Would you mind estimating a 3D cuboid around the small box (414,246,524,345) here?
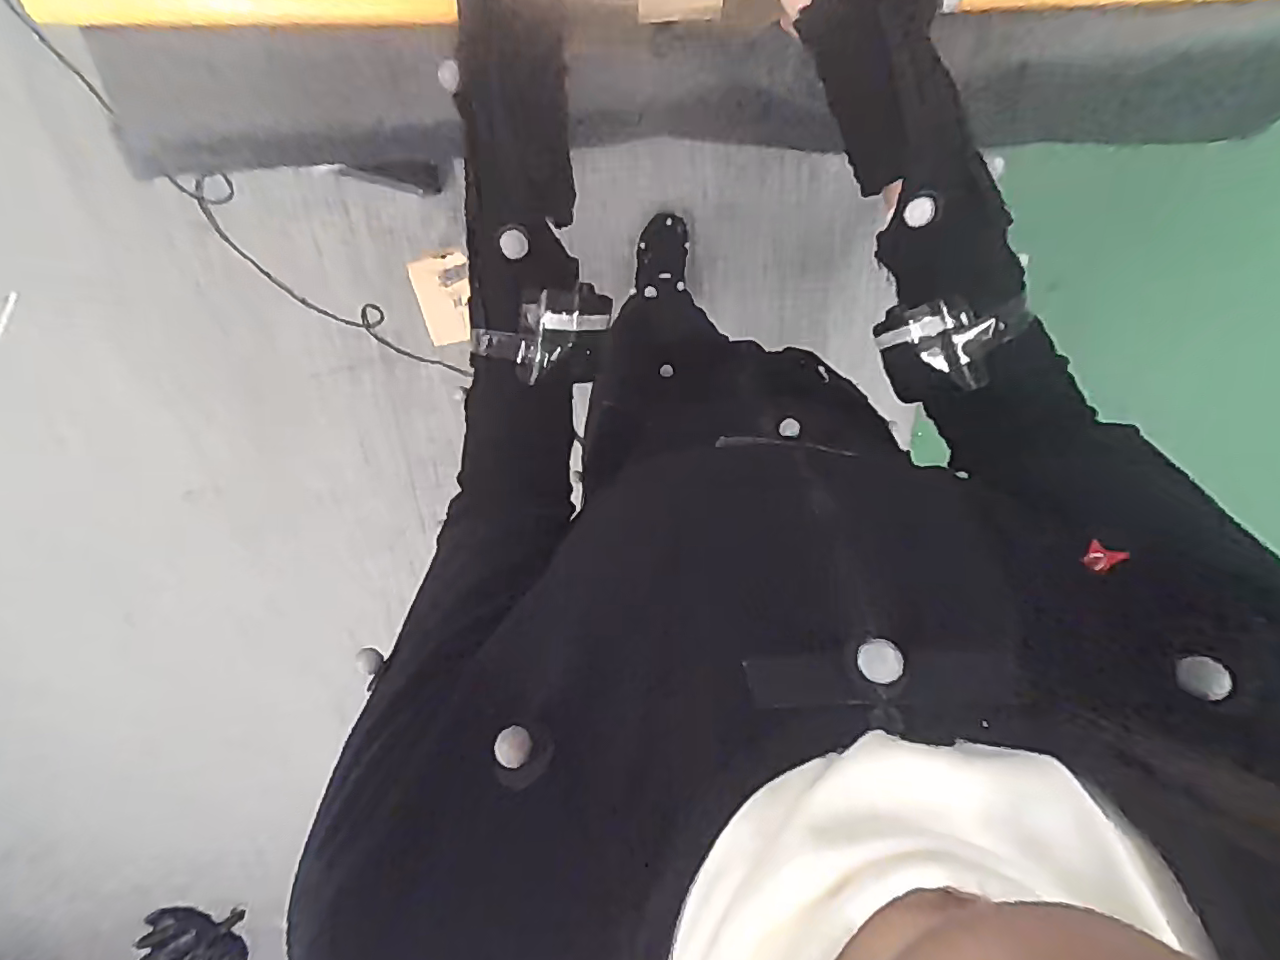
[{"bbox_3d":[-0.375,-0.416,1.216,0.168,0.176,0.179,-10,113,5],"label":"small box"}]
